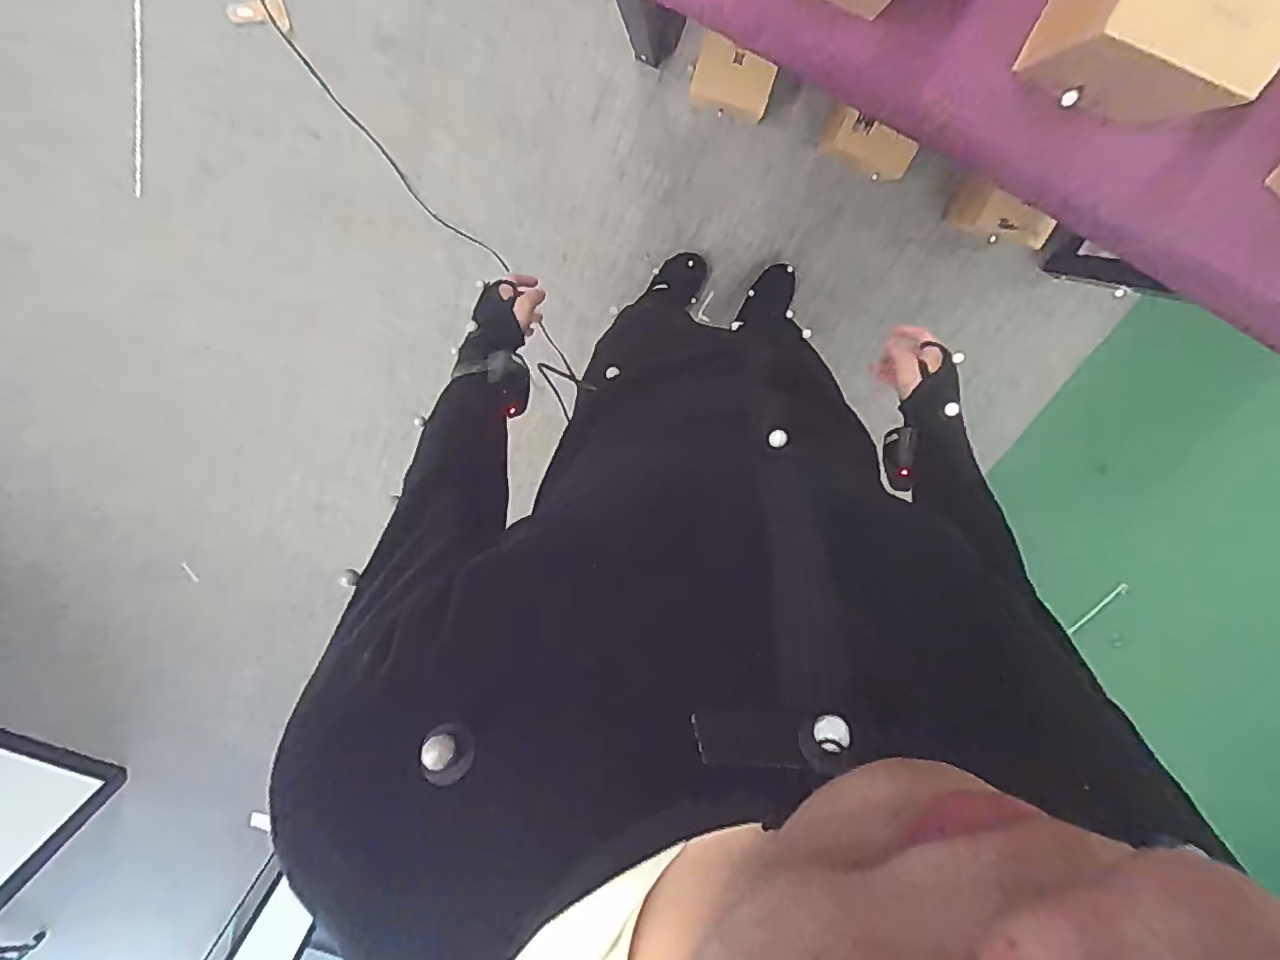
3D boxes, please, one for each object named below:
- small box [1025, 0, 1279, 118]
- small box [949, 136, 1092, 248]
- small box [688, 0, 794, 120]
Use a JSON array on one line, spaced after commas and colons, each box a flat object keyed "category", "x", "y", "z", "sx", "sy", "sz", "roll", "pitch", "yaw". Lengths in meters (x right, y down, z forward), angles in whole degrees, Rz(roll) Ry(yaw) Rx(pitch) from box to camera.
[{"category": "small box", "x": 0.533, "y": -0.490, "z": 0.526, "sx": 0.168, "sy": 0.176, "sz": 0.179, "roll": 20, "pitch": 116, "yaw": -5}, {"category": "small box", "x": 0.849, "y": -0.650, "z": 1.232, "sx": 0.168, "sy": 0.176, "sz": 0.179, "roll": 18, "pitch": 116, "yaw": -5}, {"category": "small box", "x": 0.209, "y": -0.903, "z": 1.160, "sx": 0.168, "sy": 0.176, "sz": 0.179, "roll": 16, "pitch": 117, "yaw": -3}]
